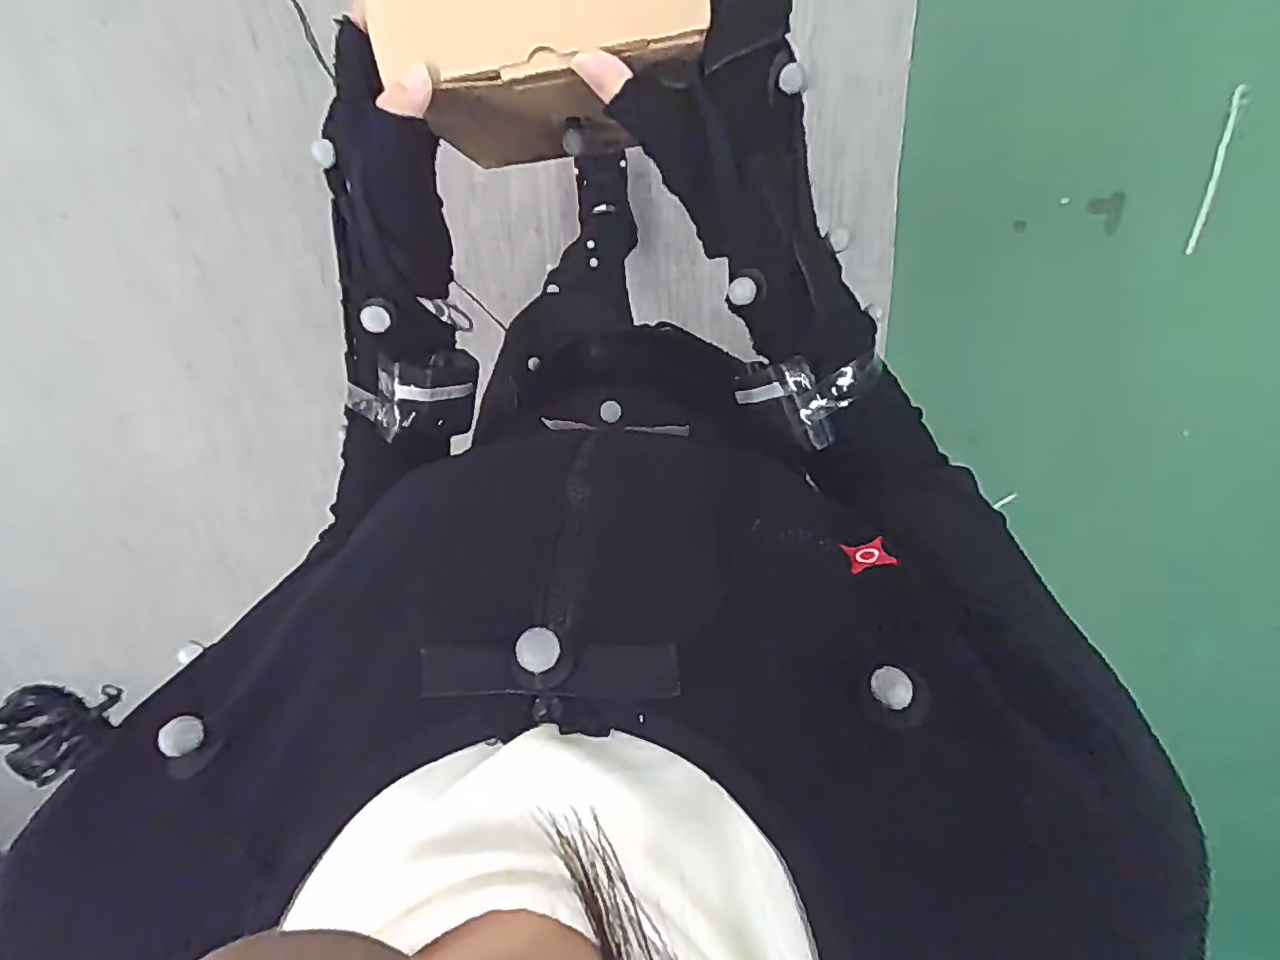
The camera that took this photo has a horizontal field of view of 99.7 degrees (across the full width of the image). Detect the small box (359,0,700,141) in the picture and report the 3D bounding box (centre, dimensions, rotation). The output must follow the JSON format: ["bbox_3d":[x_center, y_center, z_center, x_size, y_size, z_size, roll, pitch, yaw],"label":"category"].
[{"bbox_3d":[-0.057,-0.314,0.309,0.168,0.176,0.179,-7,110,4],"label":"small box"}]

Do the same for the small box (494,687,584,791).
[{"bbox_3d":[-0.243,0.639,1.346,0.179,0.176,0.168,-4,113,2],"label":"small box"}]
